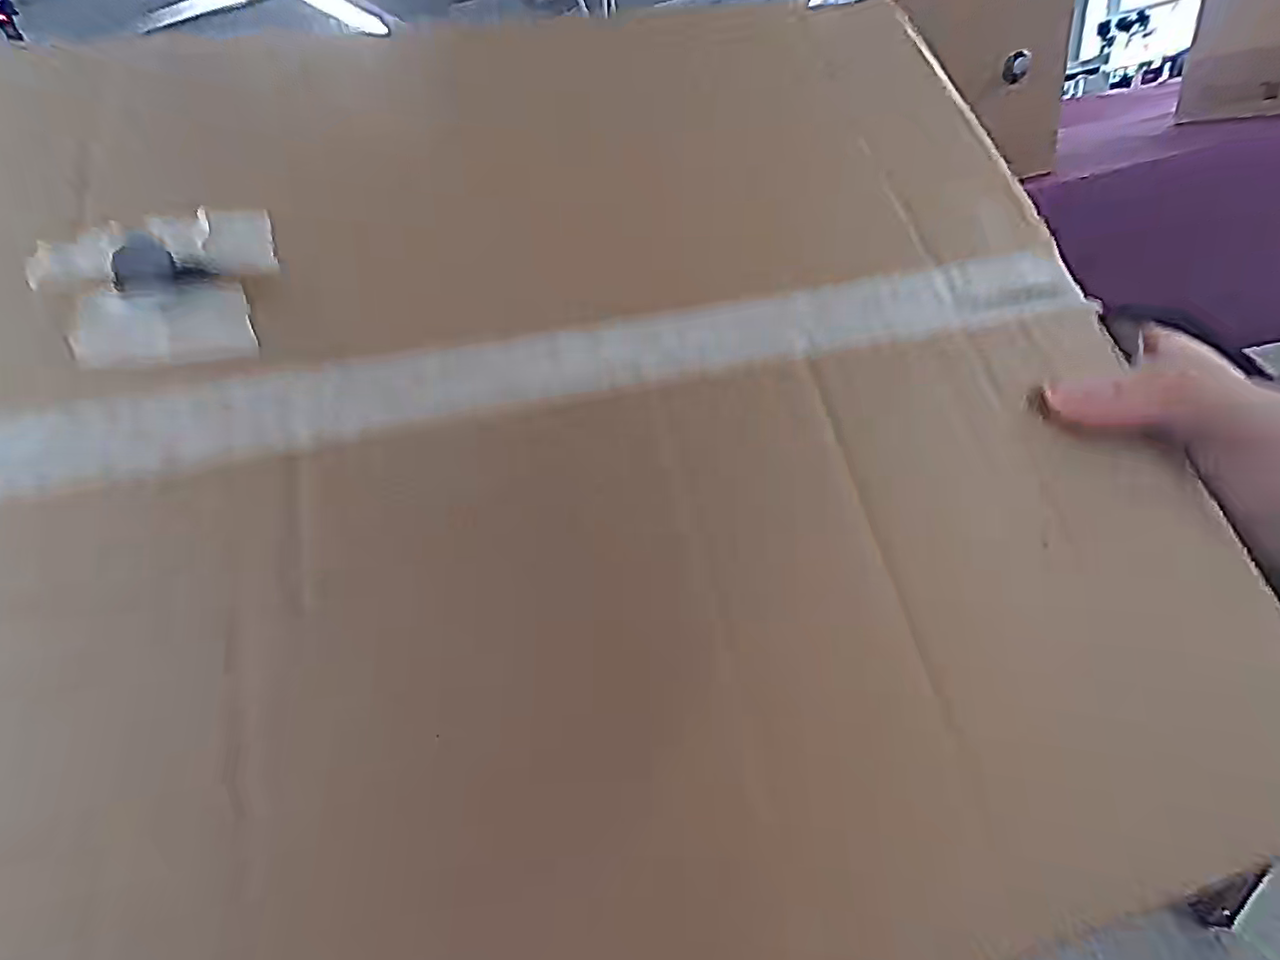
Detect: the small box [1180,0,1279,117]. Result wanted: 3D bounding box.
[{"bbox_3d":[0.633,-0.430,0.461,0.179,0.176,0.168,-11,28,6],"label":"small box"}]
